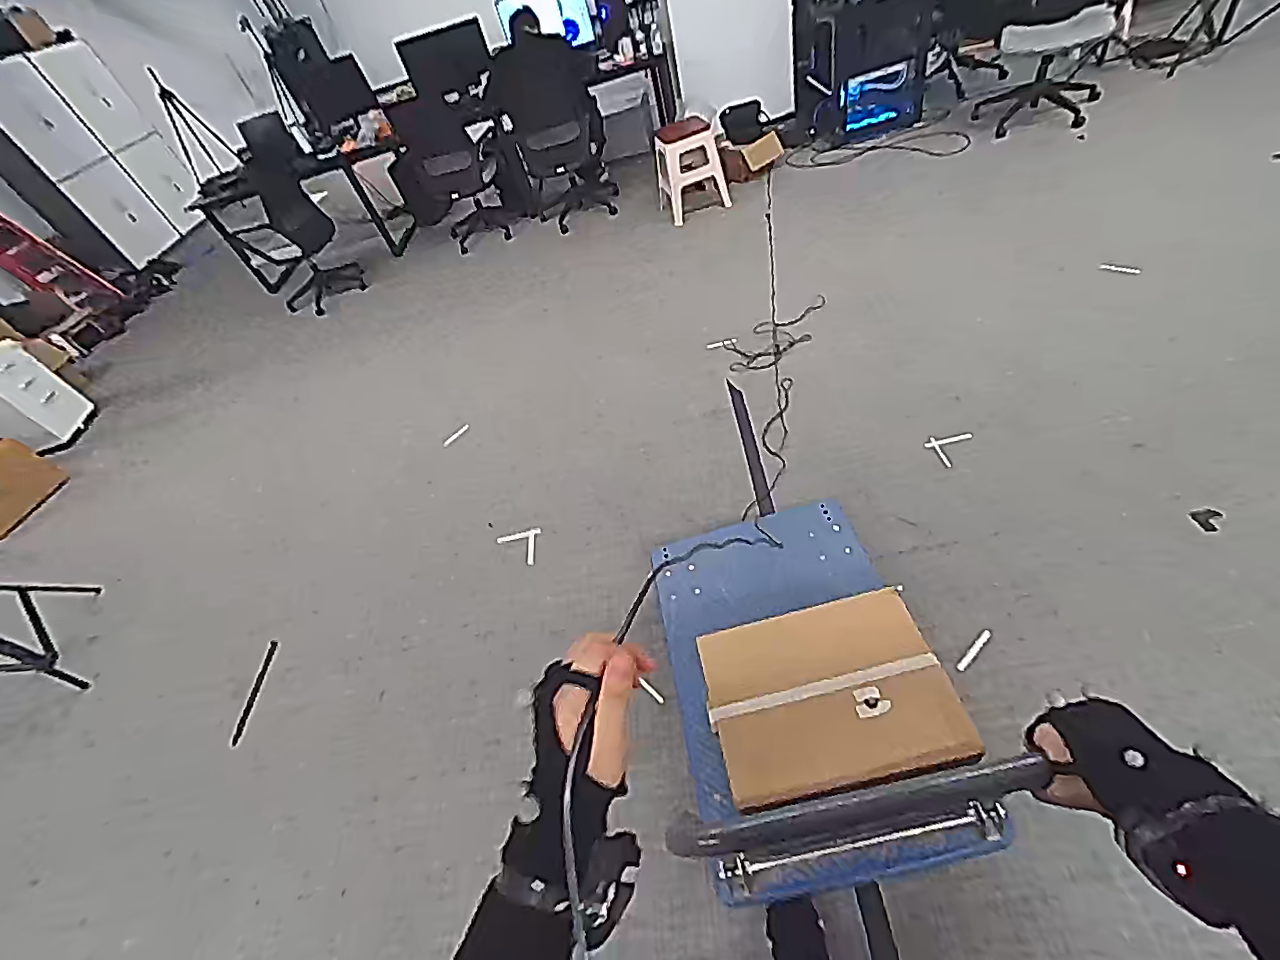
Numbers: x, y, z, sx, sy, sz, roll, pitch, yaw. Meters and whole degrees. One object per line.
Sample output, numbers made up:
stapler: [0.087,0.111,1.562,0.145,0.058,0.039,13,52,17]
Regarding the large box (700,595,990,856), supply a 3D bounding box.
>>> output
large box: [0.363,0.480,1.049,0.408,0.320,0.320,-16,46,4]
